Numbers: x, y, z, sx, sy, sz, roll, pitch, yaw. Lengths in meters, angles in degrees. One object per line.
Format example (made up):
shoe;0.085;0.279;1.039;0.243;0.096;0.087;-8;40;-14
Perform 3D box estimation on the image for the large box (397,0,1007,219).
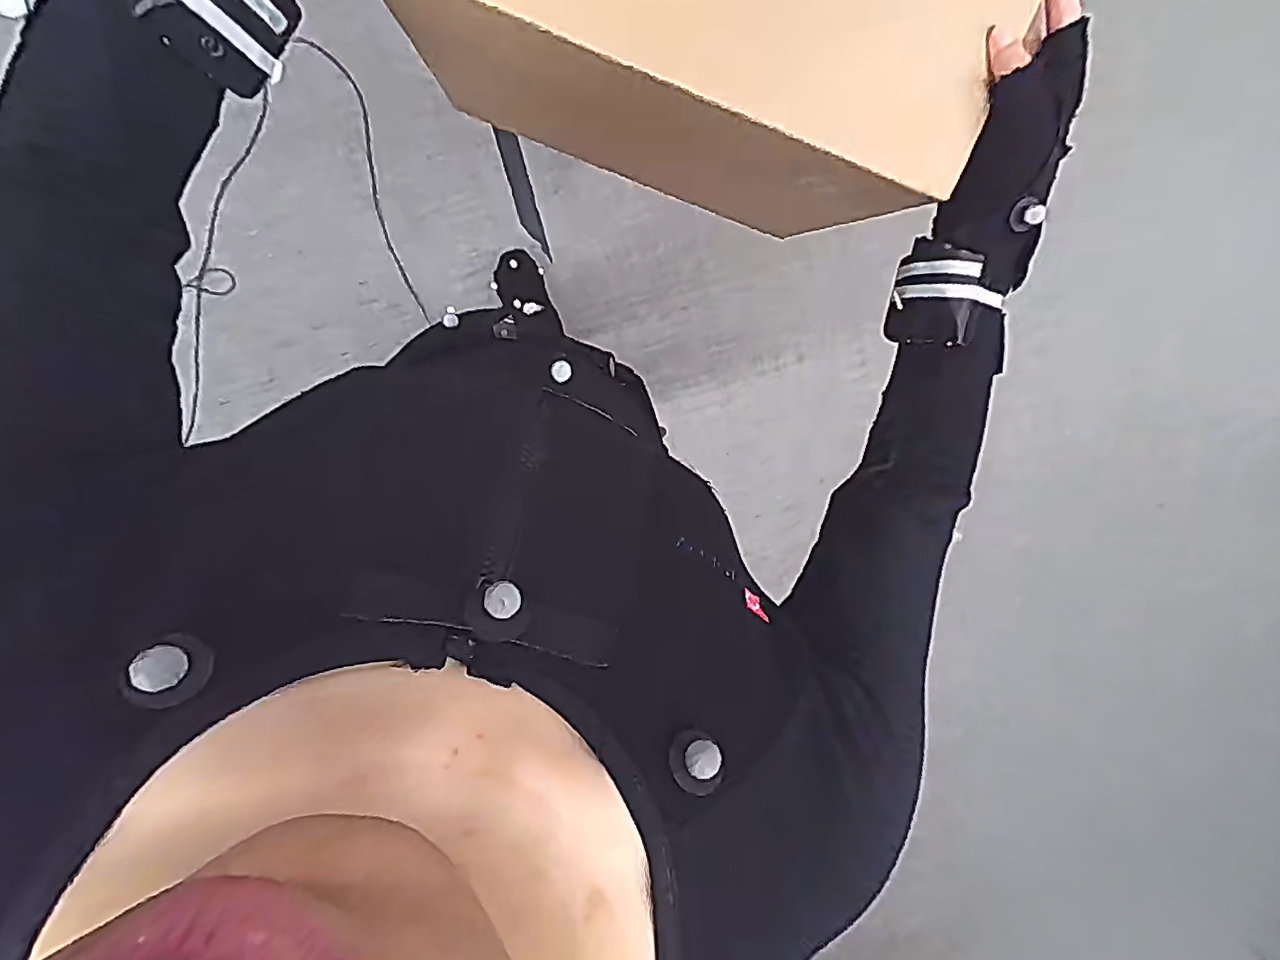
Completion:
large box;0.046;-0.452;0.442;0.408;0.320;0.320;14;108;-12
